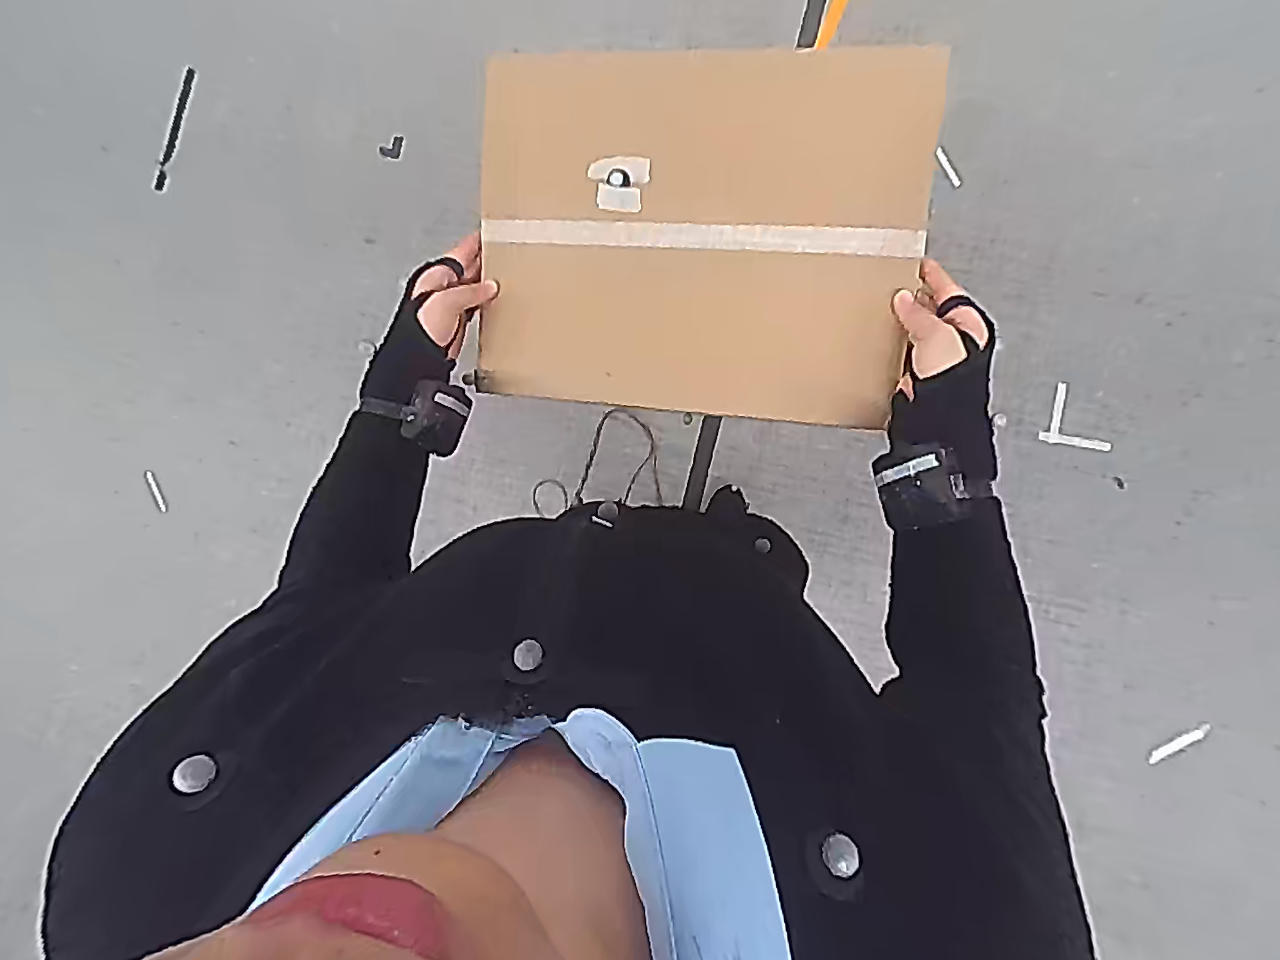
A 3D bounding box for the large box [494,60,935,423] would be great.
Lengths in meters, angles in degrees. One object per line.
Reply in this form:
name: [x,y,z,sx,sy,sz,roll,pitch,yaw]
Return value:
large box: [0.079,-0.239,0.657,0.408,0.320,0.320,6,97,11]
